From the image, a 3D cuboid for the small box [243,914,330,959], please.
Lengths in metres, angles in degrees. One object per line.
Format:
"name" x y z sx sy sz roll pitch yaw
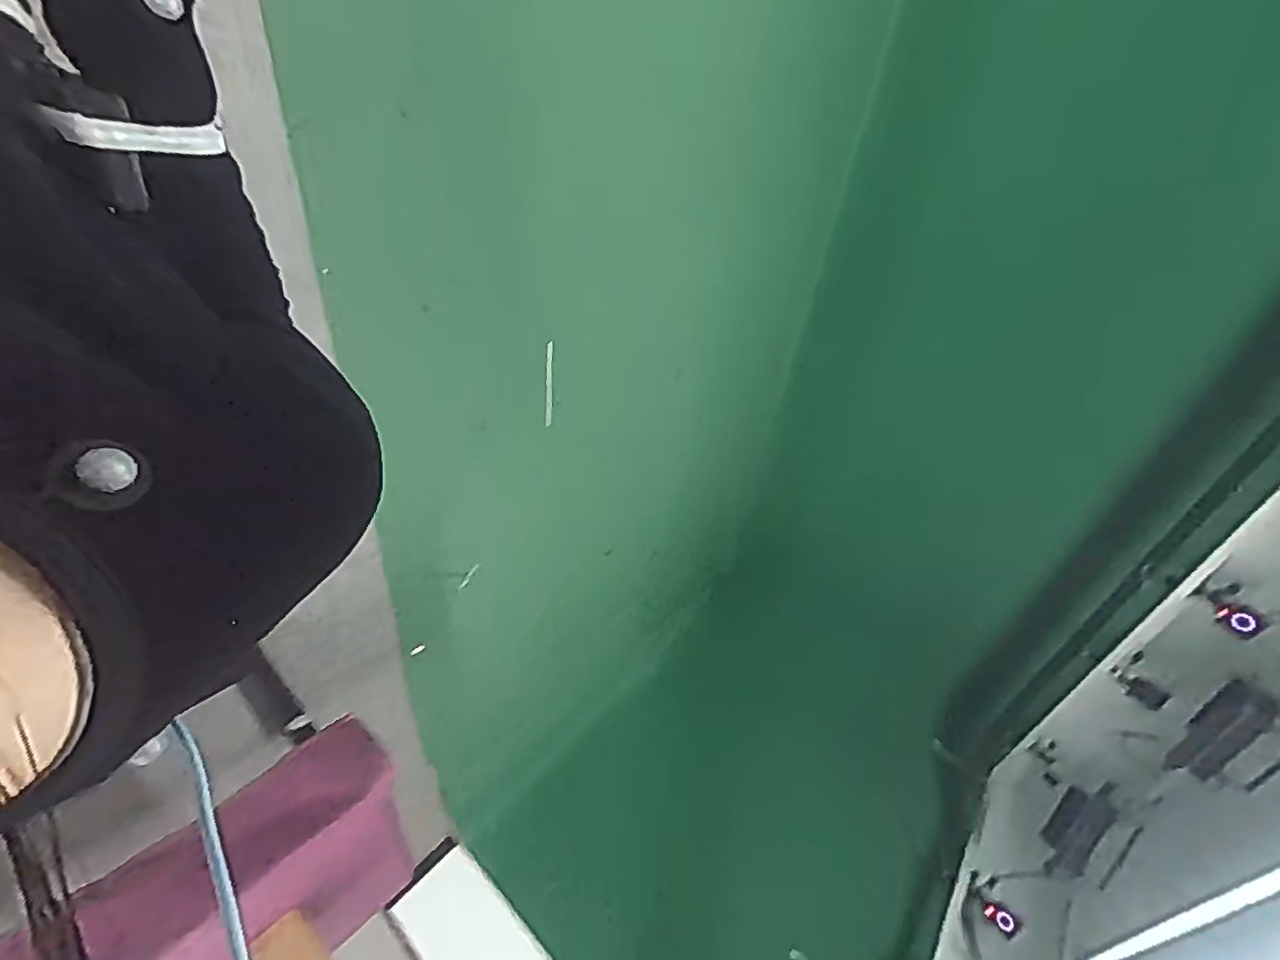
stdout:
"small box" -0.821 1.164 1.243 0.179 0.176 0.168 -33 142 -38
